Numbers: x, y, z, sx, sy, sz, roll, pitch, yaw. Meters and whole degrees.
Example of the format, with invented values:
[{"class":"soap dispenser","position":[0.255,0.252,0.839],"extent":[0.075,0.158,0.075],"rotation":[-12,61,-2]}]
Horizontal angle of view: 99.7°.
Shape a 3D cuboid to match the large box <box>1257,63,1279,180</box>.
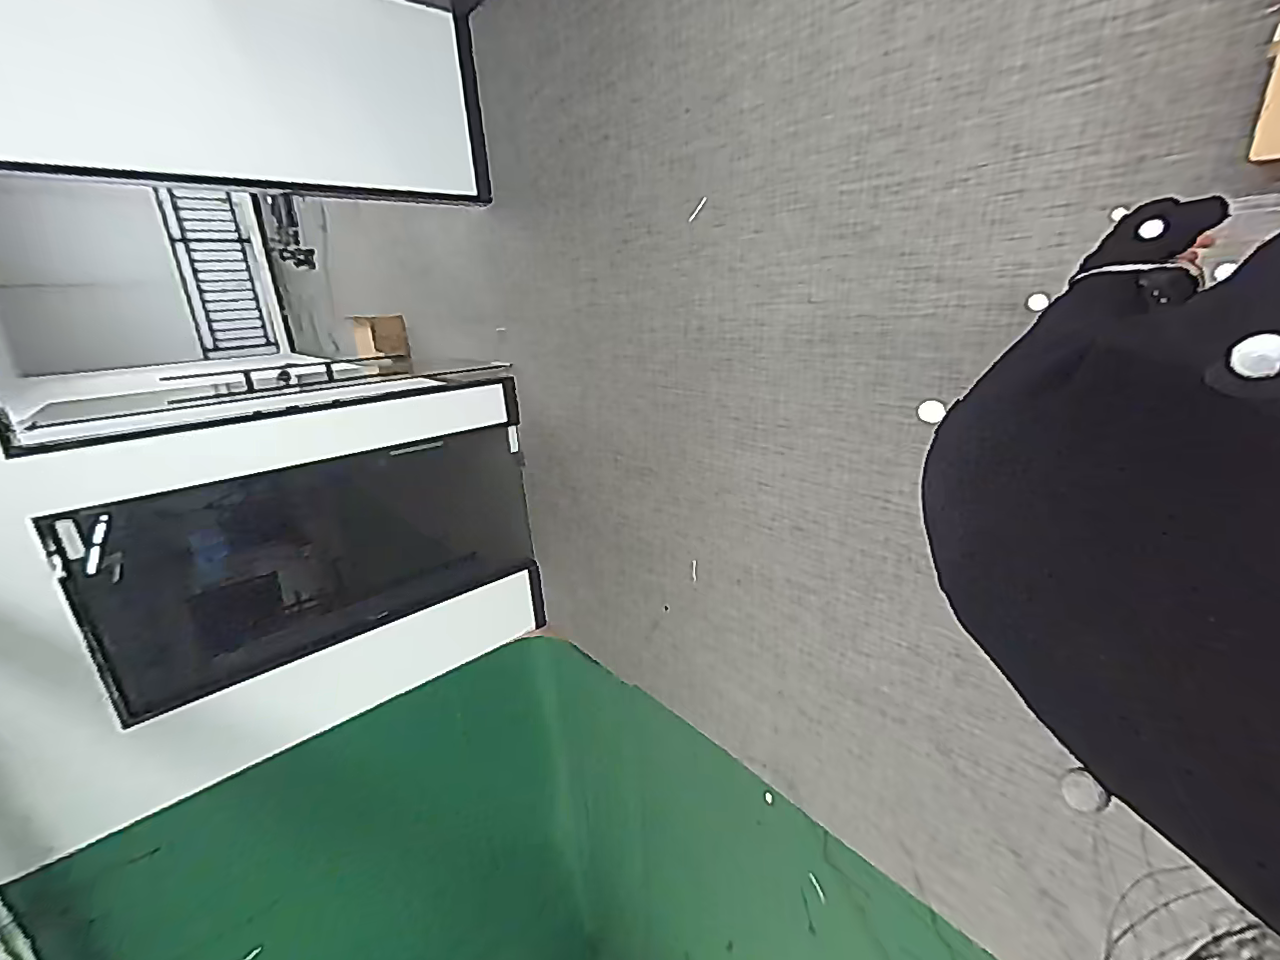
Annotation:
[{"class":"large box","position":[1.093,-0.588,0.656],"extent":[0.408,0.320,0.320],"rotation":[18,119,47]}]
